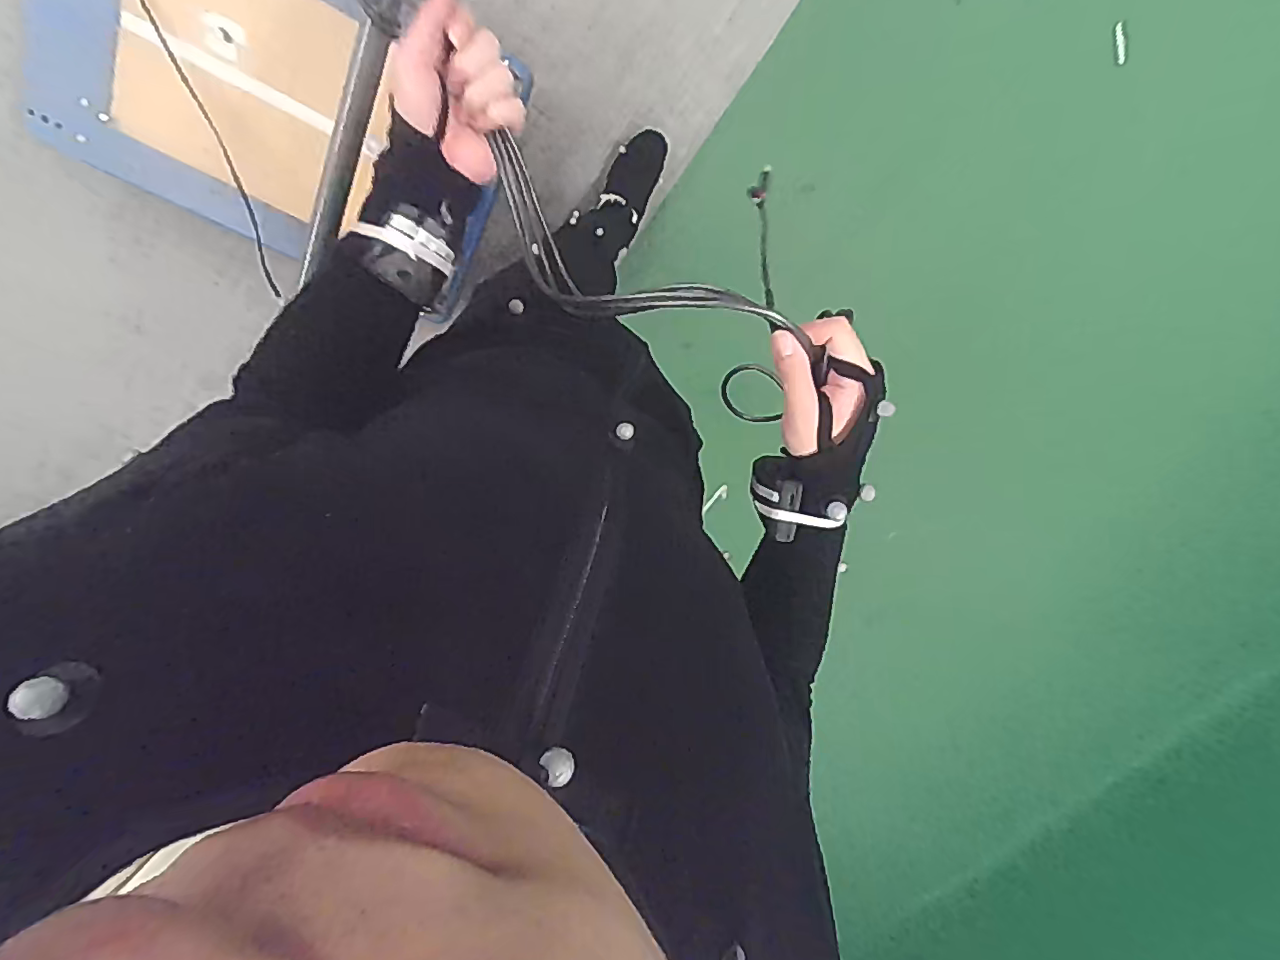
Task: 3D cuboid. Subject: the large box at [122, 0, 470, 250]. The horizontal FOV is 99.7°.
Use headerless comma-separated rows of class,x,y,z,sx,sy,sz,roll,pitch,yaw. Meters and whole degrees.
large box,-0.574,-0.657,0.971,0.408,0.320,0.320,24,110,-14
